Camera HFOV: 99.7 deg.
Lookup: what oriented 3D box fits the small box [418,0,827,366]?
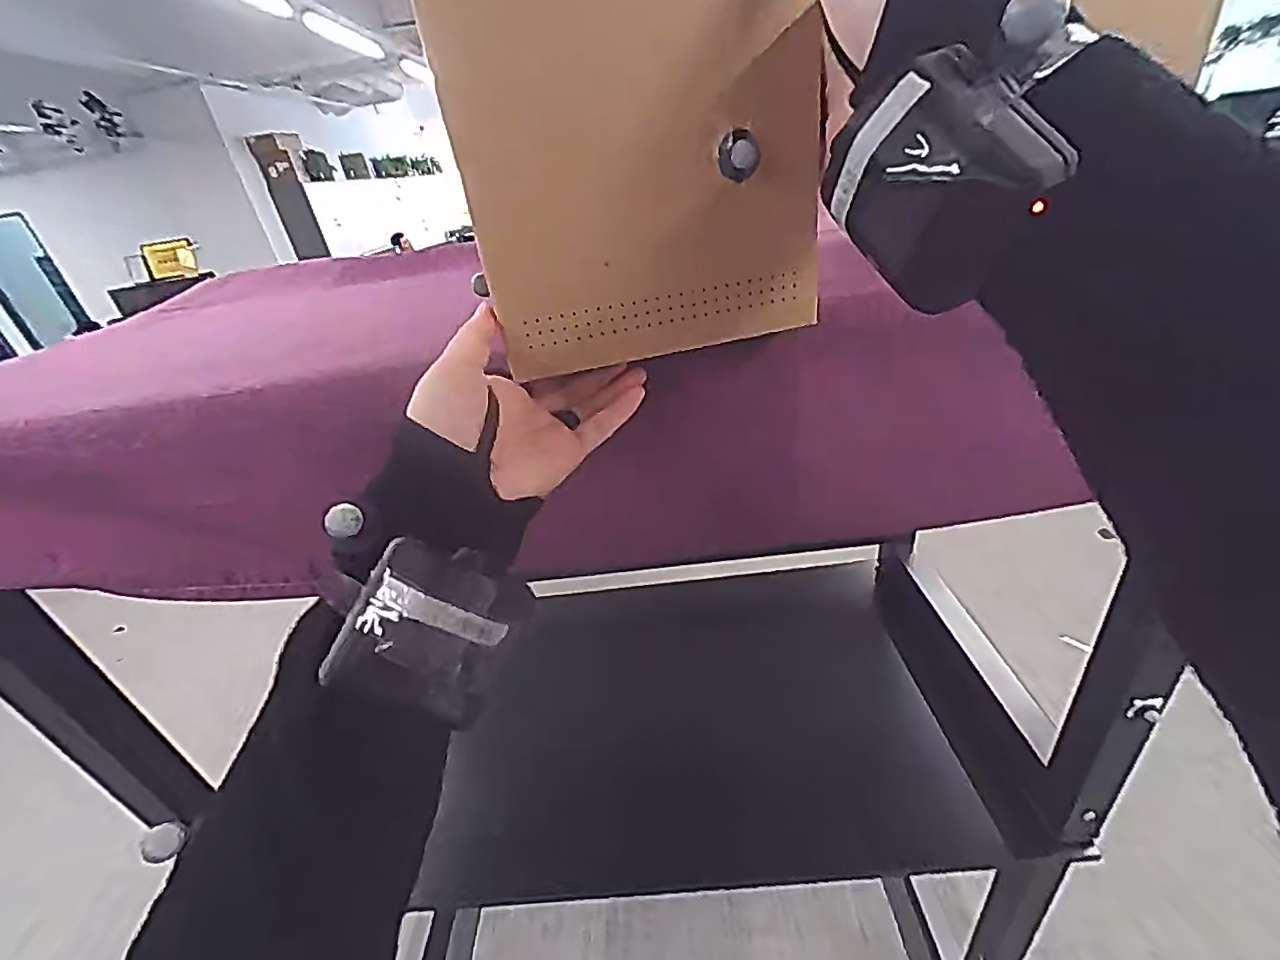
[{"bbox_3d":[-0.008,-0.183,0.325,0.179,0.176,0.168,-13,29,-6],"label":"small box"}]

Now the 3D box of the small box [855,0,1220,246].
[{"bbox_3d":[0.285,-0.295,0.428,0.179,0.176,0.168,-7,29,6],"label":"small box"}]
